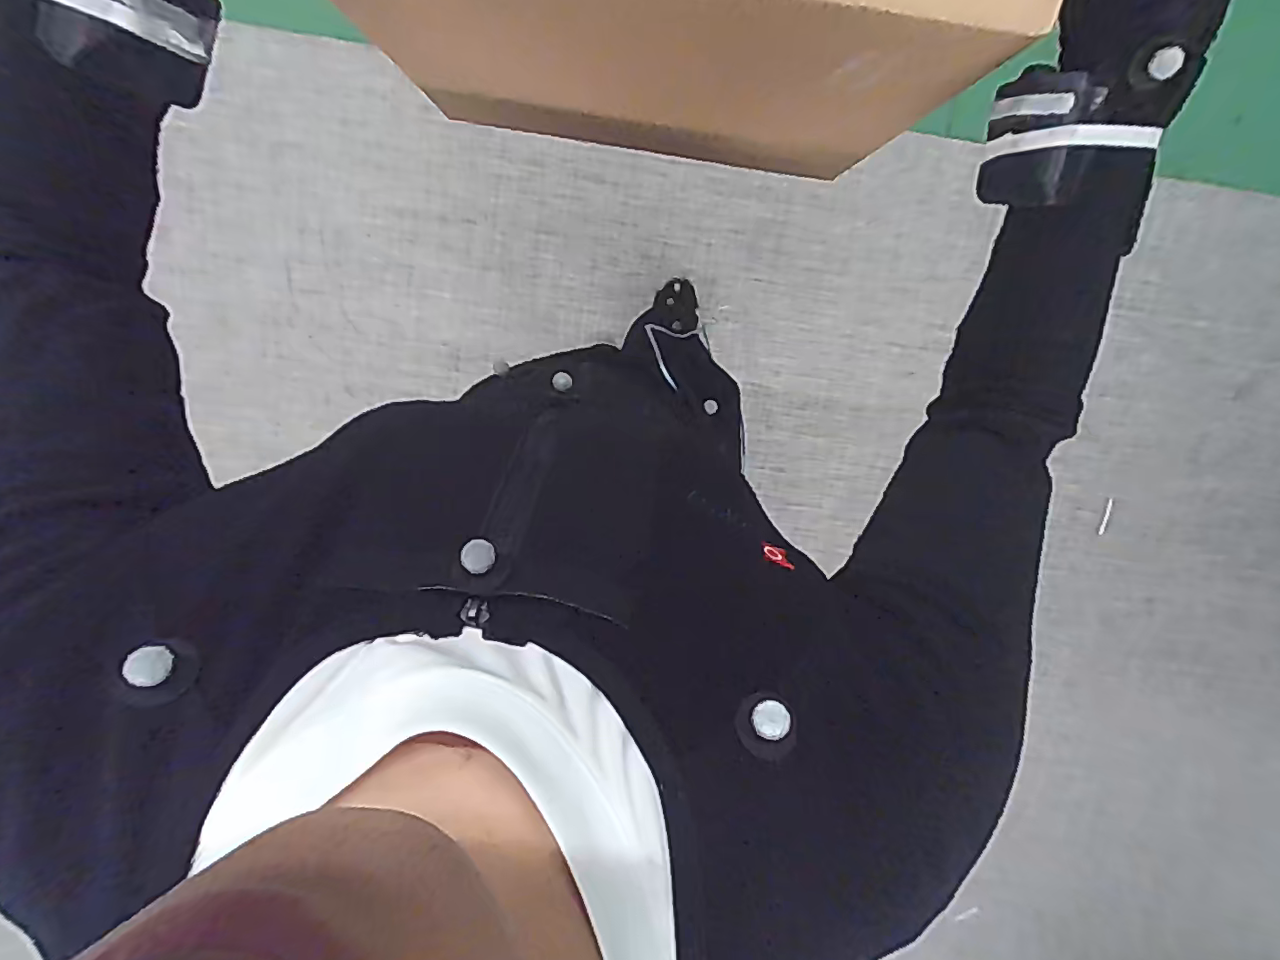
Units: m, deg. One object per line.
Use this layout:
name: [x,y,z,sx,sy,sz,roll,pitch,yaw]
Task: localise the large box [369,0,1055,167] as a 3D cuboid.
large box: [0.033,-0.448,0.372,0.408,0.320,0.320,7,108,-4]
